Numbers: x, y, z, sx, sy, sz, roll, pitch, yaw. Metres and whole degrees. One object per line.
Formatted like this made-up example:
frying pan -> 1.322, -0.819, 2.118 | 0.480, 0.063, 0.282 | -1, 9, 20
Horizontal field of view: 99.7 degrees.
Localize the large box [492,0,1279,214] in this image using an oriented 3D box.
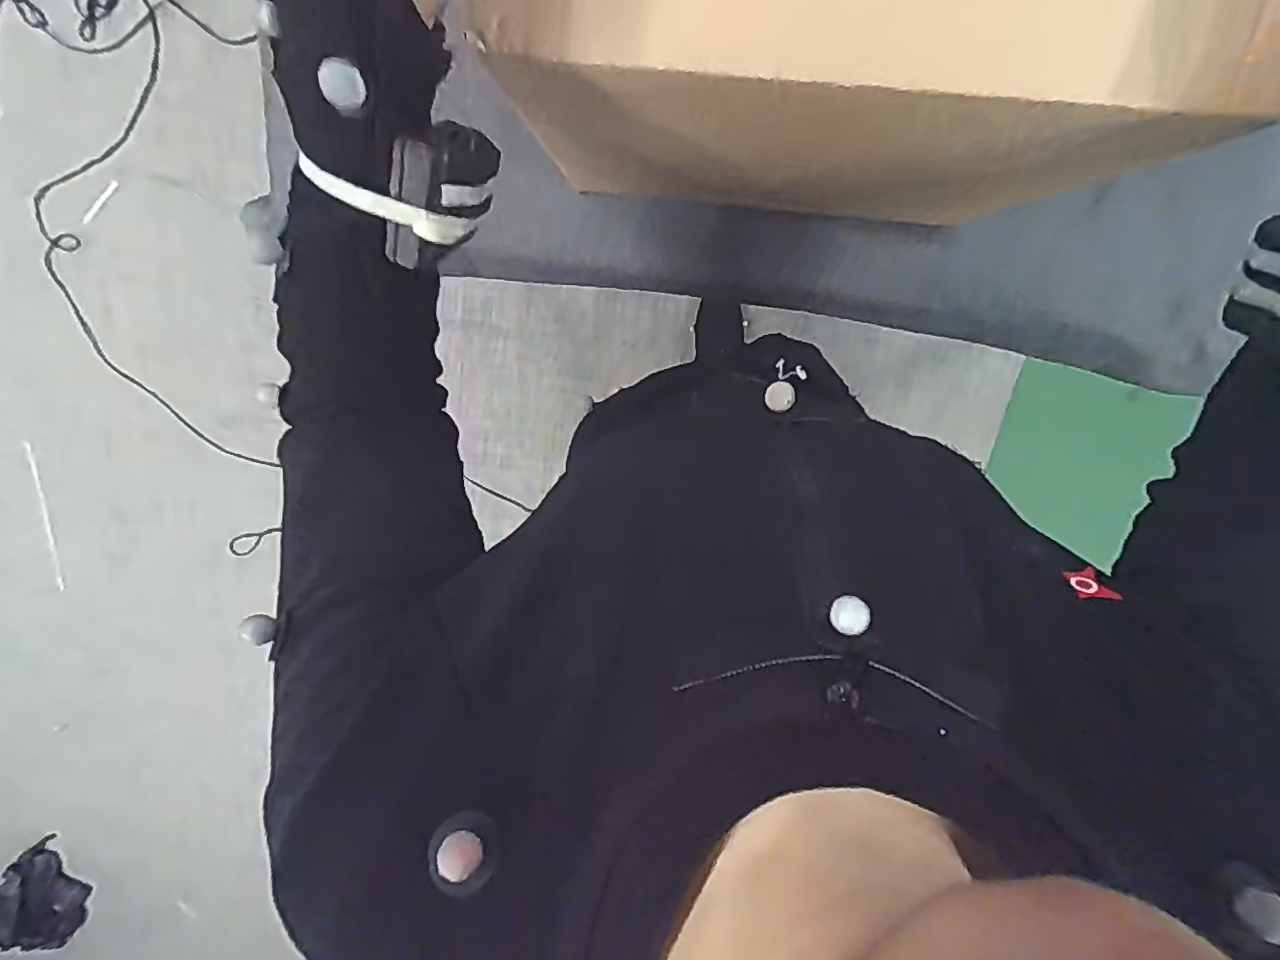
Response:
large box -> 0.135, -0.389, 0.372 | 0.408, 0.320, 0.320 | 5, 107, 1
